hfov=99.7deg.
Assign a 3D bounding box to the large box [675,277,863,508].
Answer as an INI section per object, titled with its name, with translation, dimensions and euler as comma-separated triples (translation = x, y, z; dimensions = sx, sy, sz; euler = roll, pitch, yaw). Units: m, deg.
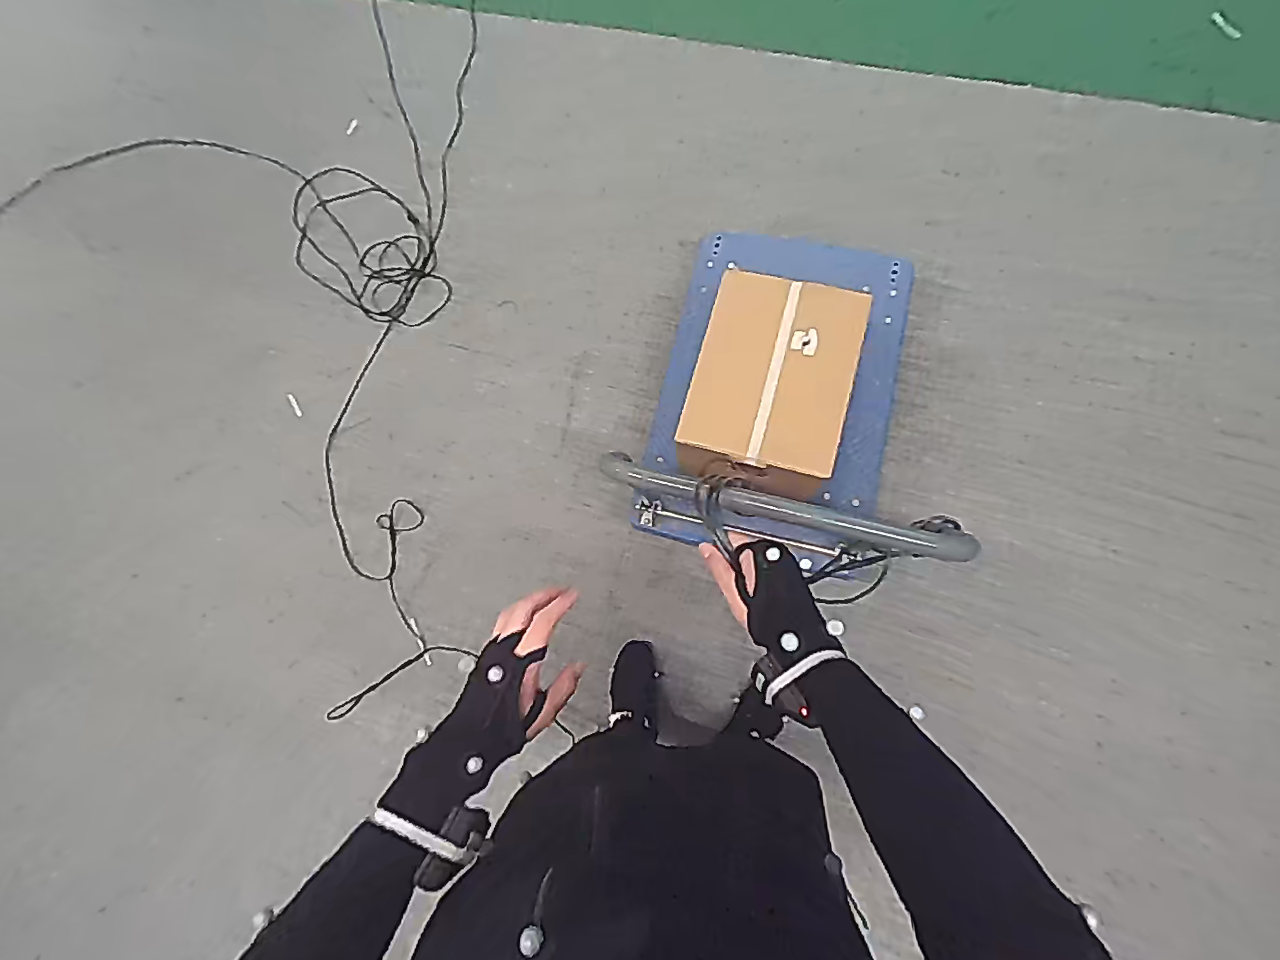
[large box]
translation = 0.283, -0.183, 1.247
dimensions = 0.320, 0.320, 0.408
euler = 15, 78, 9
